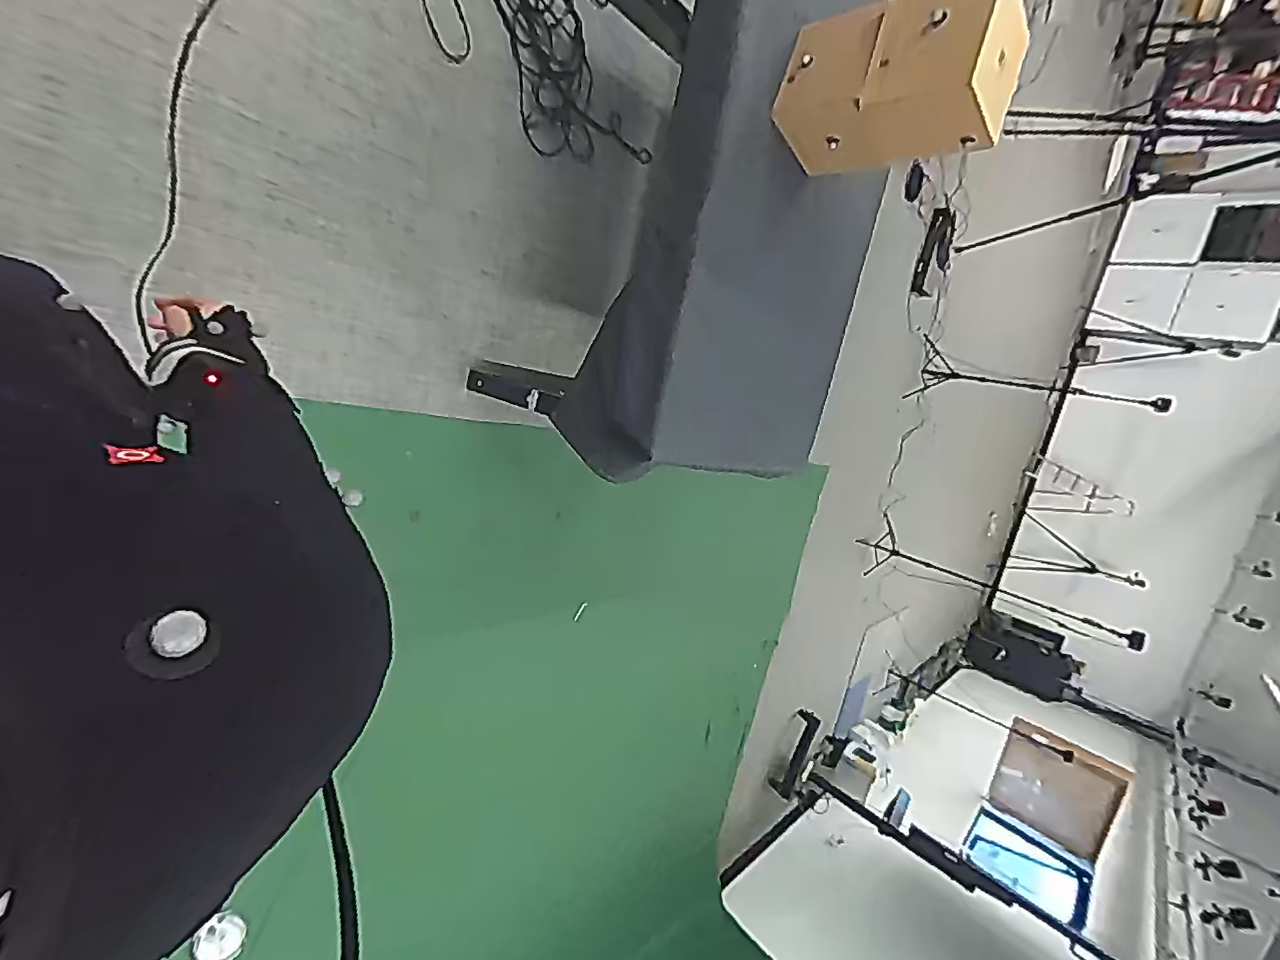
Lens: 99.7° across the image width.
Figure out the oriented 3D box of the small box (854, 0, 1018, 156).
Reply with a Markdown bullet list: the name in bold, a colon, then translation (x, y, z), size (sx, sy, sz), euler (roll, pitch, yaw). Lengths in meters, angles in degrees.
- **small box**: translation (0.463, -0.640, 0.853), size (0.179, 0.176, 0.168), euler (5, 103, -48)
